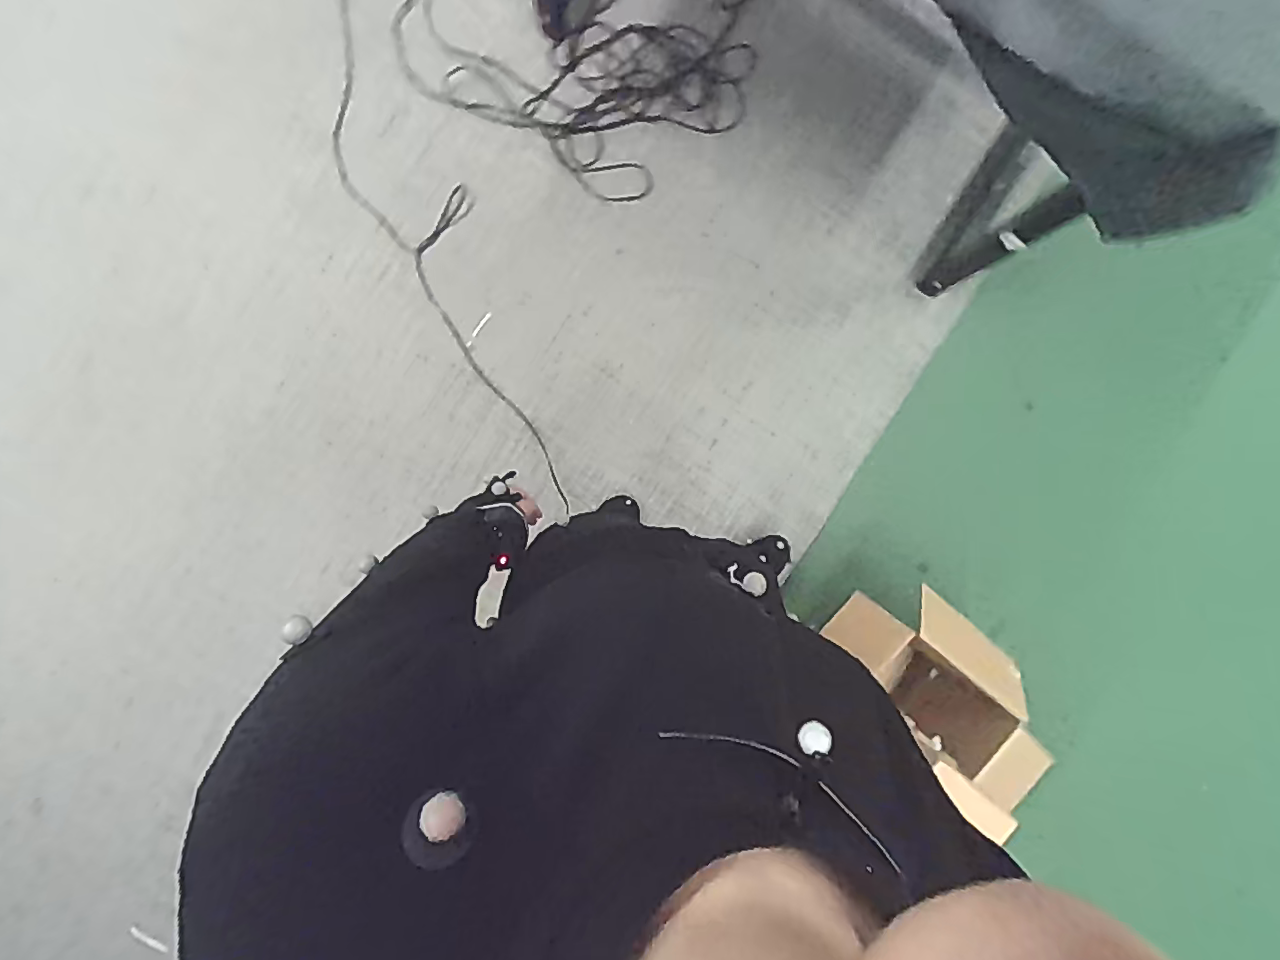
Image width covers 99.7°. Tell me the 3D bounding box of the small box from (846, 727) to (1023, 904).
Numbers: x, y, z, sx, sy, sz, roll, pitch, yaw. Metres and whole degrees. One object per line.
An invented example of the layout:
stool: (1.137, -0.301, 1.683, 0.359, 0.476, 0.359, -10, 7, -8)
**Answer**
small box: (0.501, 0.571, 0.952, 0.179, 0.176, 0.168, 39, 91, -2)
